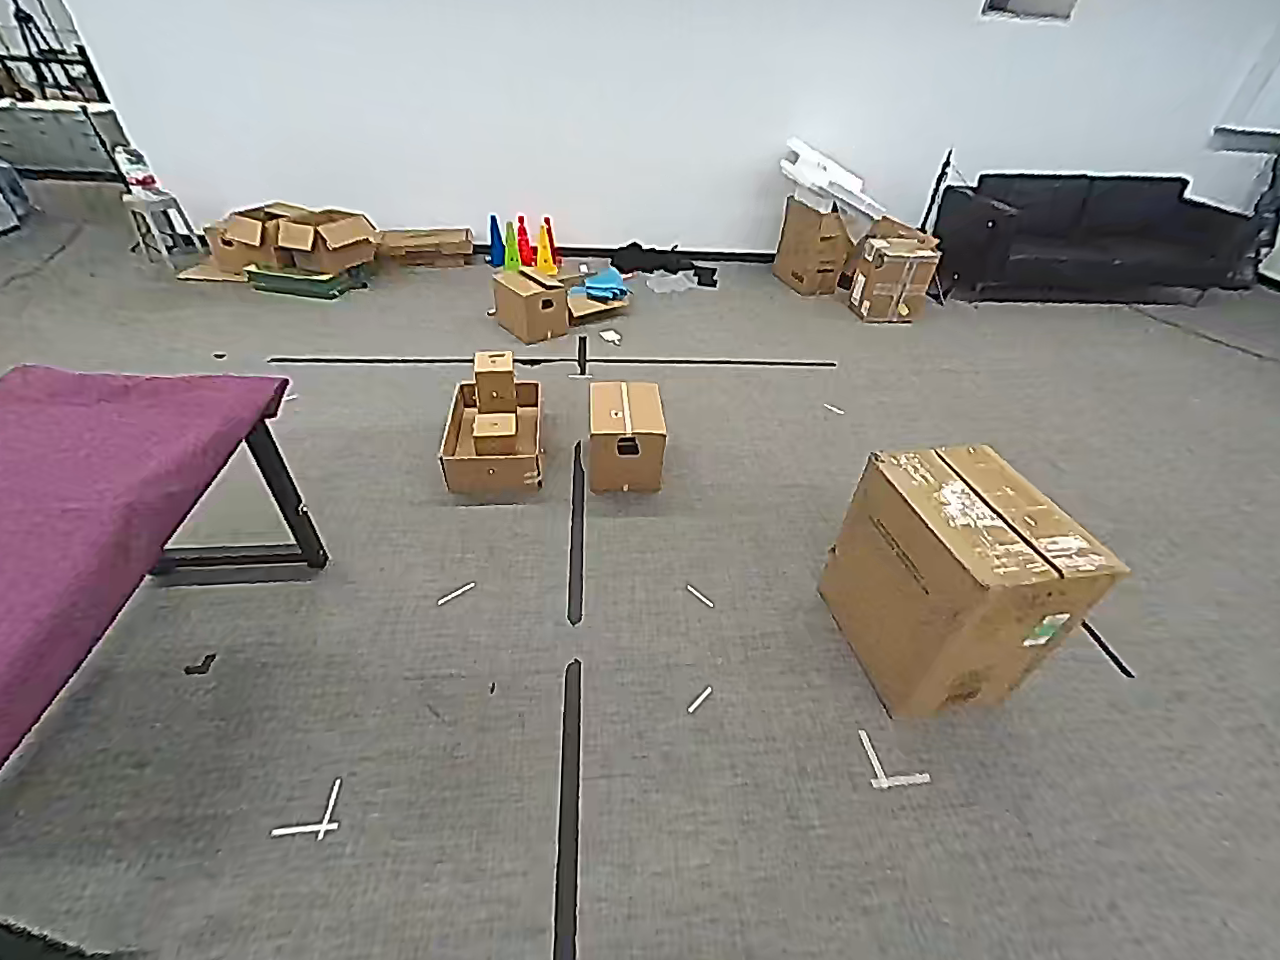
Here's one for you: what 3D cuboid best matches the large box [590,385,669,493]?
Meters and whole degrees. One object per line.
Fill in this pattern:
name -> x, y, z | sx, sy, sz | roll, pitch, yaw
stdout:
large box -> -0.063, -0.189, 2.417 | 0.320, 0.320, 0.408 | -1, 41, -5

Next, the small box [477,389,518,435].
small box -> -0.673, -0.332, 2.561 | 0.179, 0.176, 0.168 | -7, 42, -14

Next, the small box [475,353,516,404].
small box -> -0.655, -0.464, 2.463 | 0.168, 0.176, 0.179 | -5, 42, -11
